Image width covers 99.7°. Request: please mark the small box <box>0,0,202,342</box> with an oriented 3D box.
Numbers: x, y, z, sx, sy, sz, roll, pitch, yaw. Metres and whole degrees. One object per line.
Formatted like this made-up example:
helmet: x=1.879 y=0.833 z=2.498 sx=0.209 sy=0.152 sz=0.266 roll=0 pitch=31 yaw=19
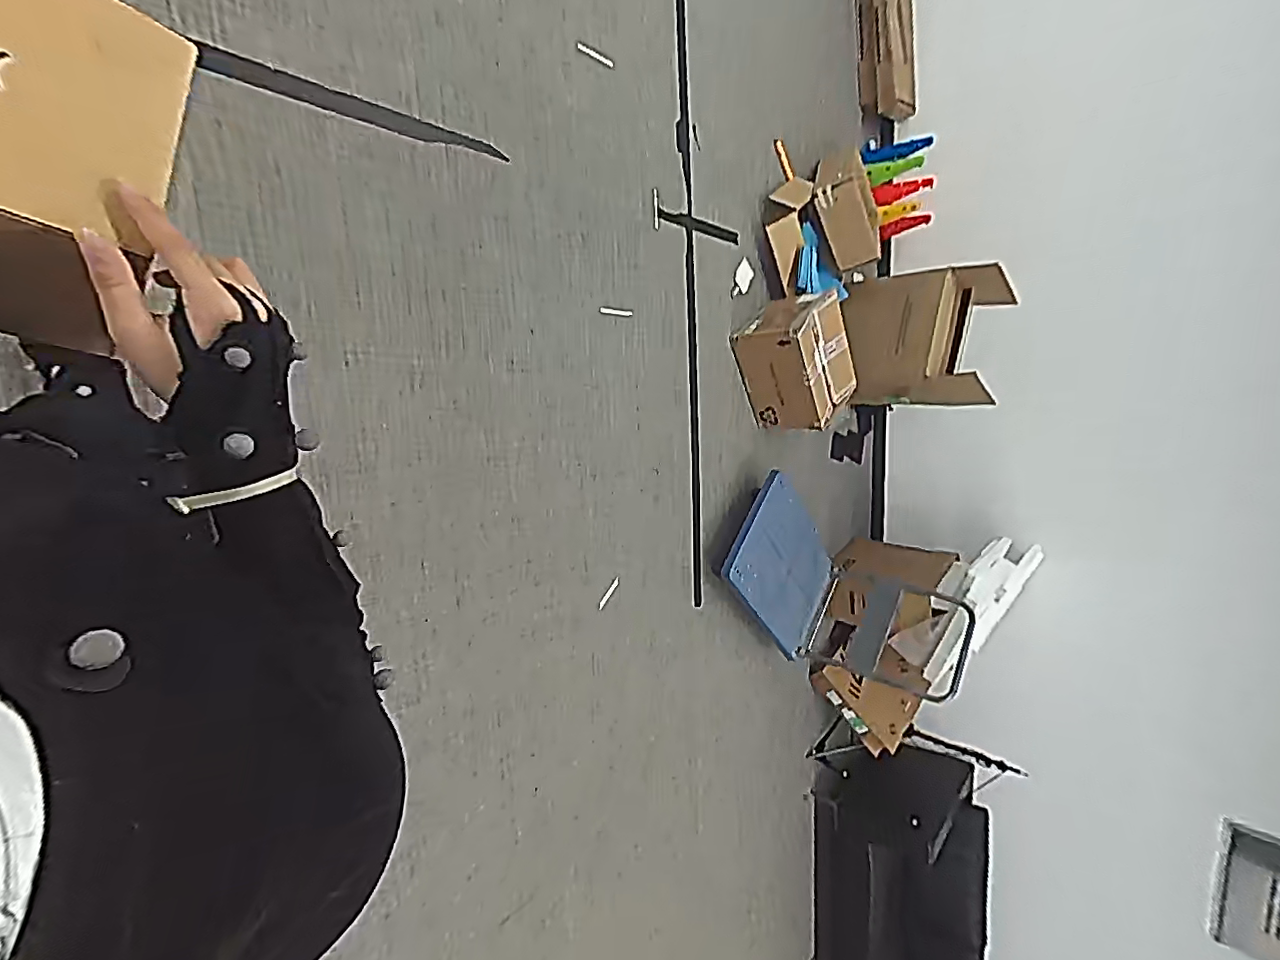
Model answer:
small box: x=-0.402 y=-0.203 z=0.327 sx=0.179 sy=0.176 sz=0.168 roll=12 pitch=70 yaw=-44
